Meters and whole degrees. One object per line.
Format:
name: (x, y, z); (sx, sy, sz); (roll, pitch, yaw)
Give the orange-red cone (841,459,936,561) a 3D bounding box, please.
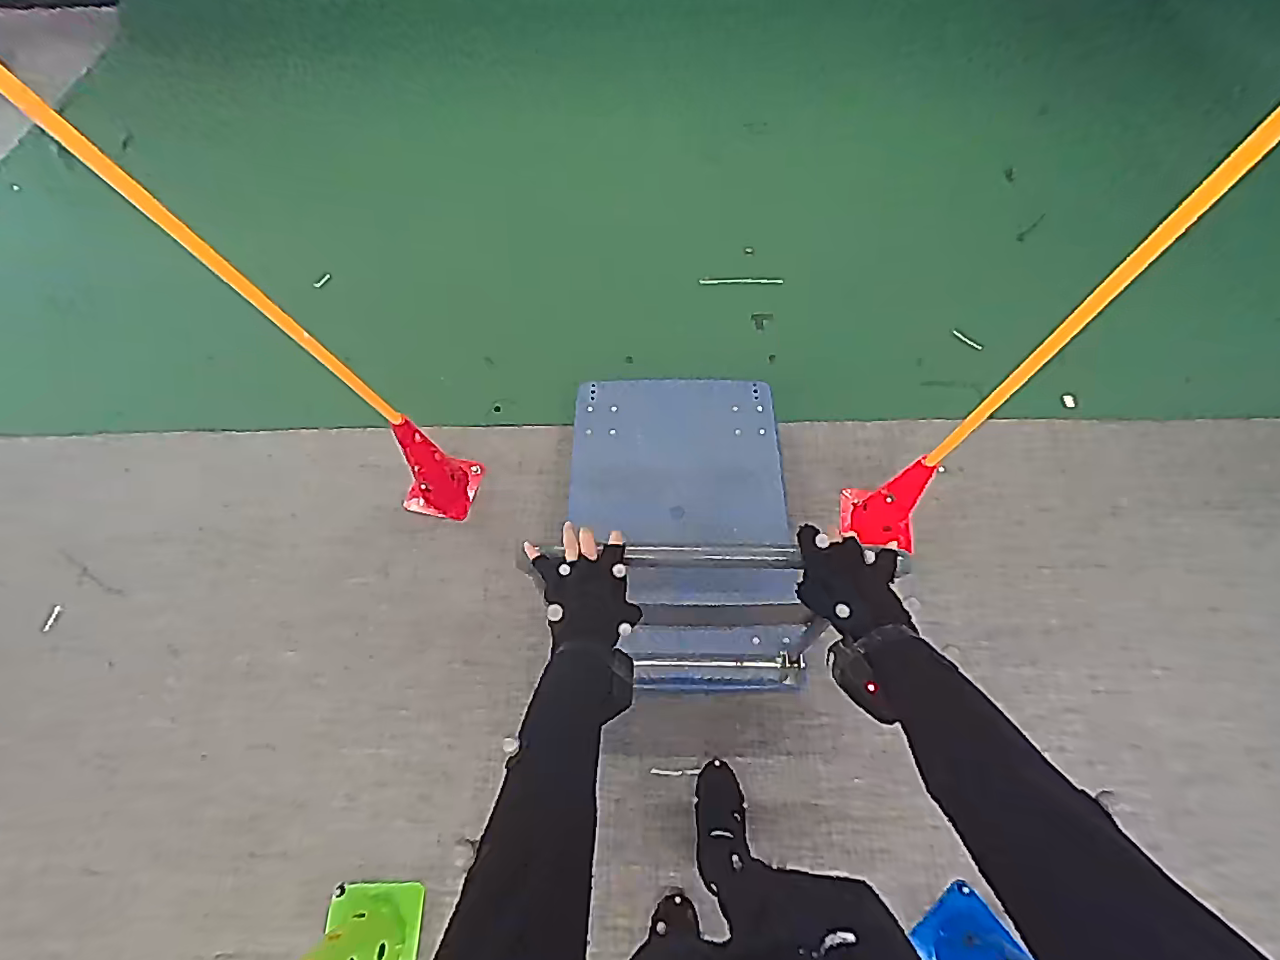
orange-red cone: (0.685, 0.052, 1.425); (0.198, 0.360, 0.199); (9, 62, 6)
